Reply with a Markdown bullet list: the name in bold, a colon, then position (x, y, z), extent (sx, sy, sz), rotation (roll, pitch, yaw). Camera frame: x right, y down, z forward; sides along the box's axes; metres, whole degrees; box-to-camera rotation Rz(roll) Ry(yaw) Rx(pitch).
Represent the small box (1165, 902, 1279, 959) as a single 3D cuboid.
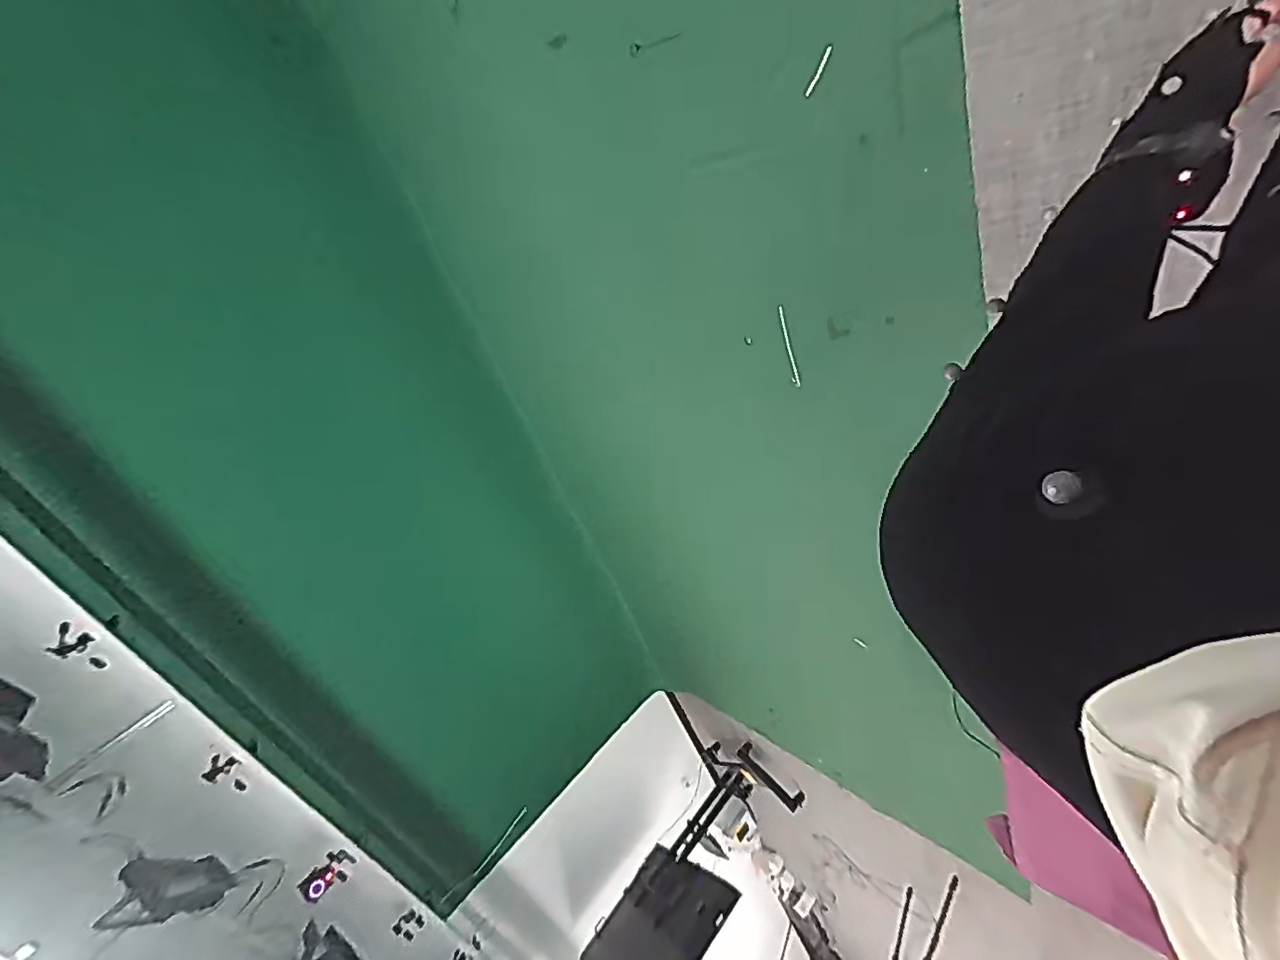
- **small box**: position (1.233, 1.058, 1.141), extent (0.168, 0.176, 0.179), rotation (8, 129, 51)
